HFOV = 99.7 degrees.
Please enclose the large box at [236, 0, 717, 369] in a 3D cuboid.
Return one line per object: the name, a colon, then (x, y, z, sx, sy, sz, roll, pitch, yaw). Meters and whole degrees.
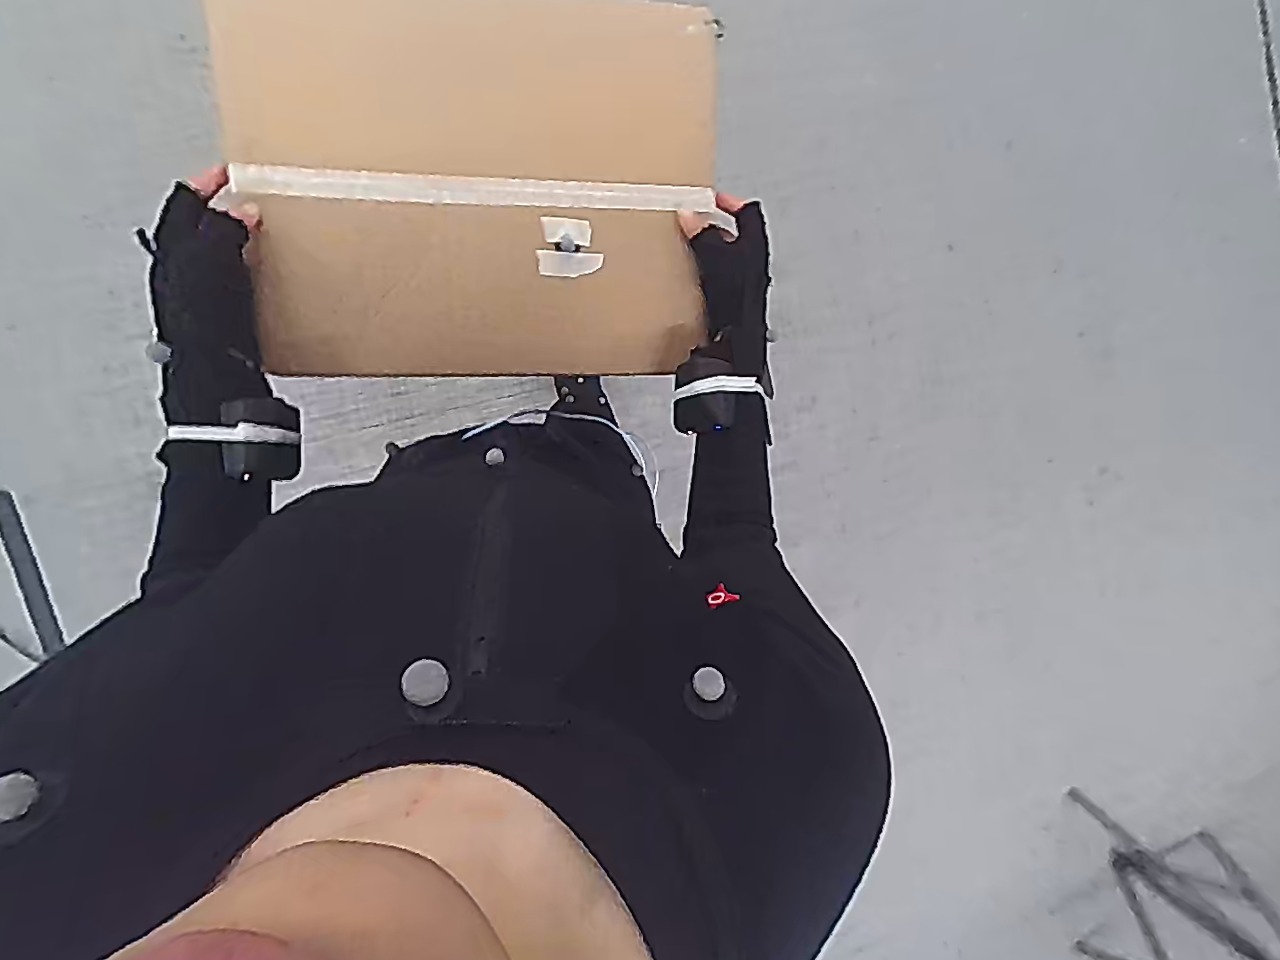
large box: (-0.152, -0.294, 0.631, 0.408, 0.320, 0.320, -2, 103, -11)
